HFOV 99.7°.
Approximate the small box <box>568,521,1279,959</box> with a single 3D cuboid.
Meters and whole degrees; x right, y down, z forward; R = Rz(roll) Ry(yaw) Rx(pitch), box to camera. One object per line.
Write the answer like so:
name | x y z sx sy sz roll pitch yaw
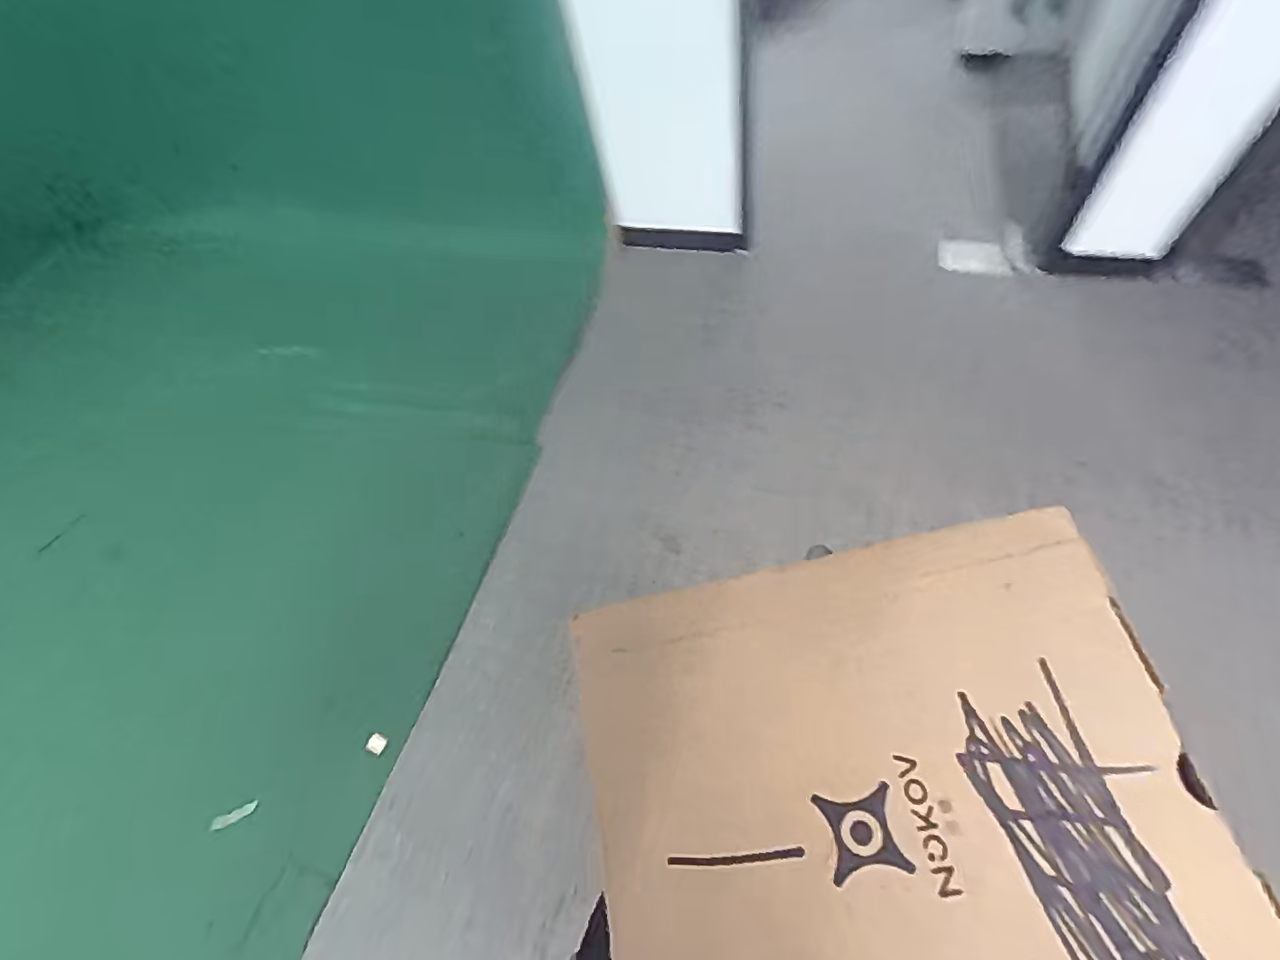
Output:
small box | 0.085 0.135 0.228 0.179 0.176 0.168 -15 65 5
